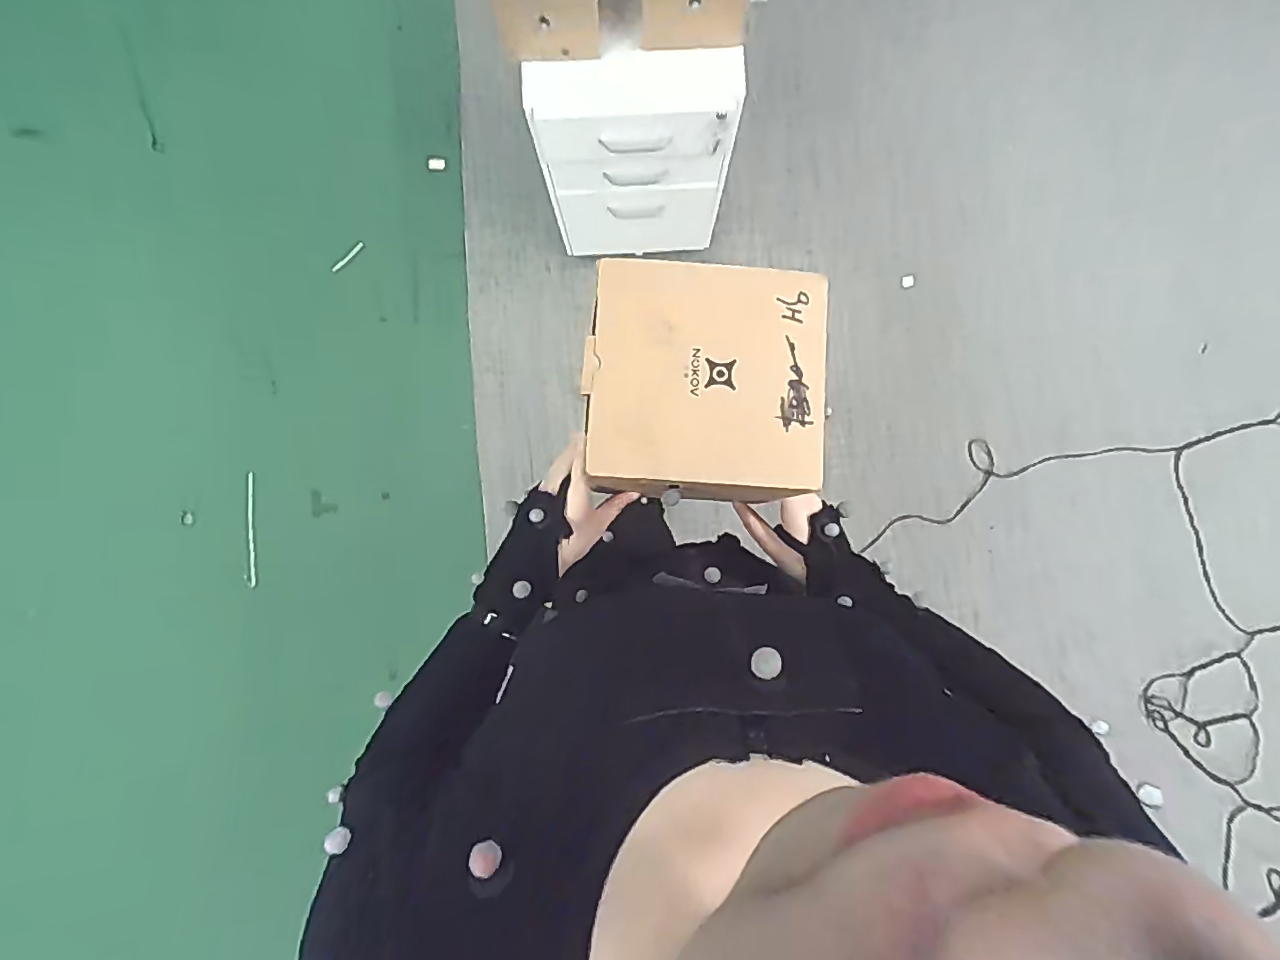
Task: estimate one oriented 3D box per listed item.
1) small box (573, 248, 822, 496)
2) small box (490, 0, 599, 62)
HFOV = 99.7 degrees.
[{"bbox_3d":[0.042,-0.077,0.474,0.179,0.176,0.168,4,84,-2],"label":"small box"},{"bbox_3d":[-0.155,-0.823,0.878,0.168,0.176,0.179,-2,86,-1],"label":"small box"}]
